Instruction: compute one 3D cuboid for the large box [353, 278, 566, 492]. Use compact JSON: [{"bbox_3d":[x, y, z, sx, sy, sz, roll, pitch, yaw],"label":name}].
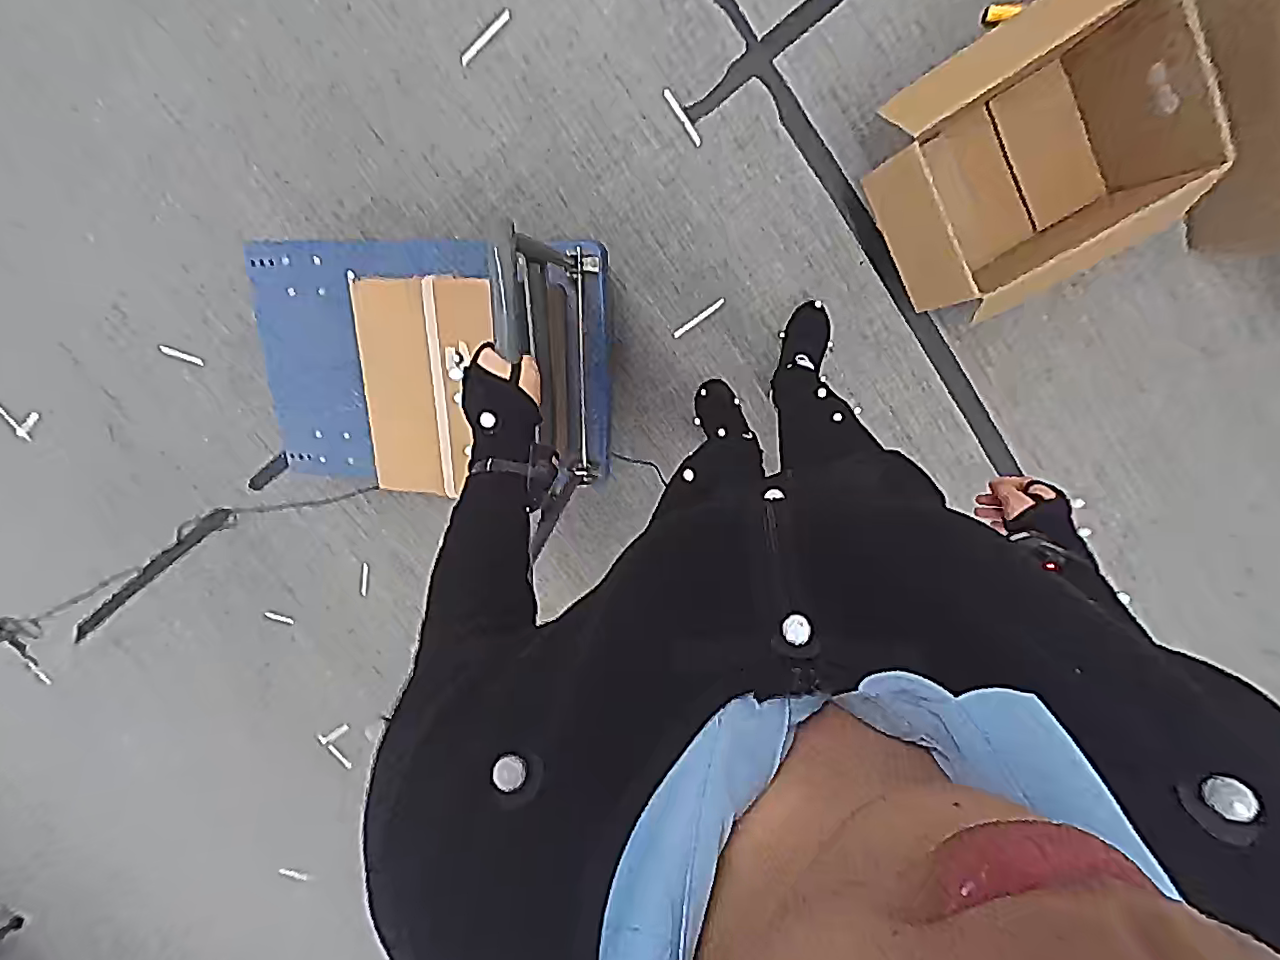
[{"bbox_3d":[-0.352,-0.213,1.163,0.320,0.320,0.408,3,108,6],"label":"large box"}]
